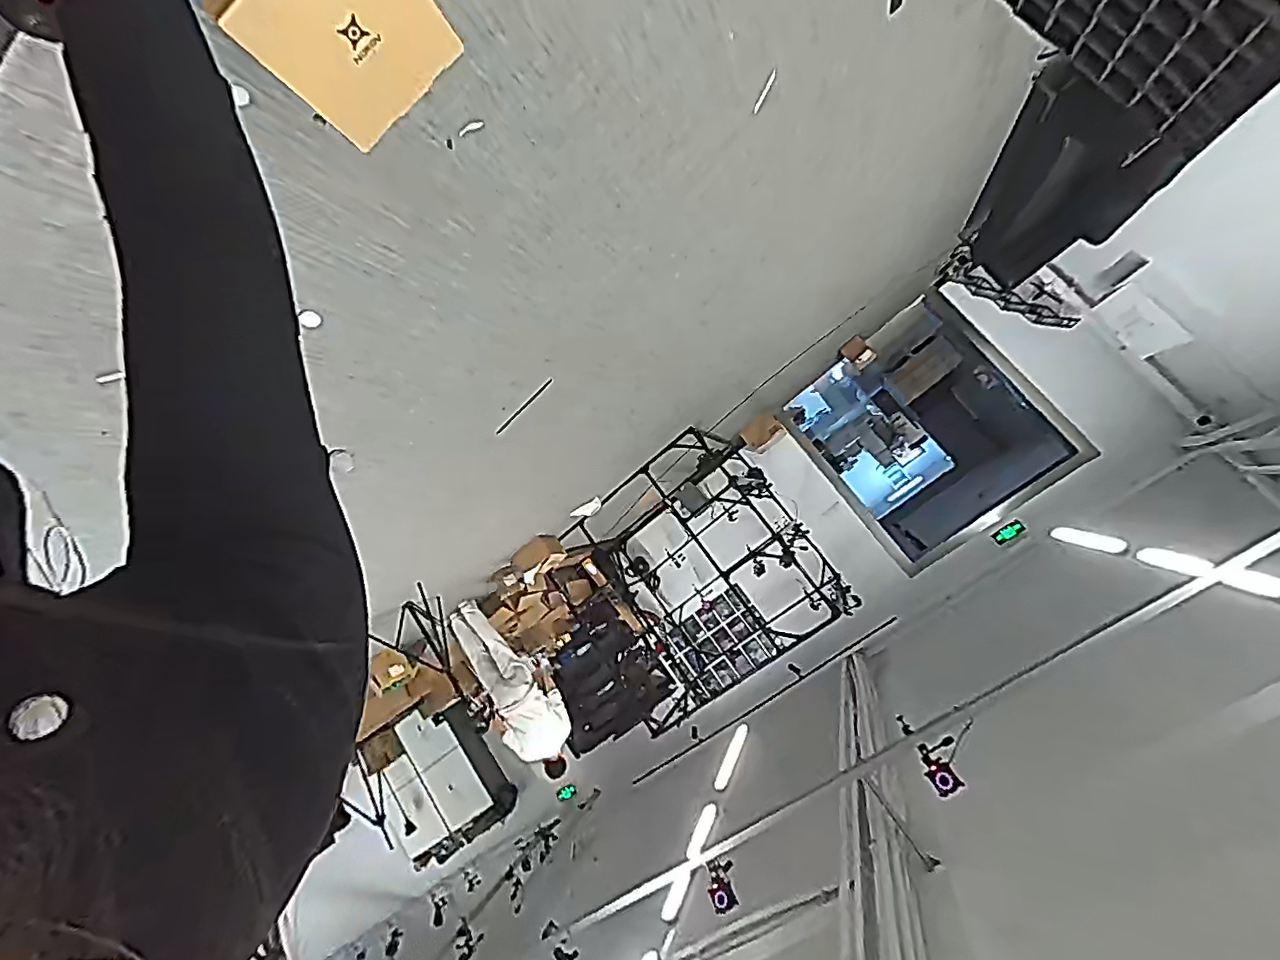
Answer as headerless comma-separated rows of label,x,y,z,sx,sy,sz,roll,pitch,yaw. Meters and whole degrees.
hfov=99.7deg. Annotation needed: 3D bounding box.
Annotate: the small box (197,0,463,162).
small box,-0.328,-0.488,0.552,0.168,0.176,0.179,-40,169,9
